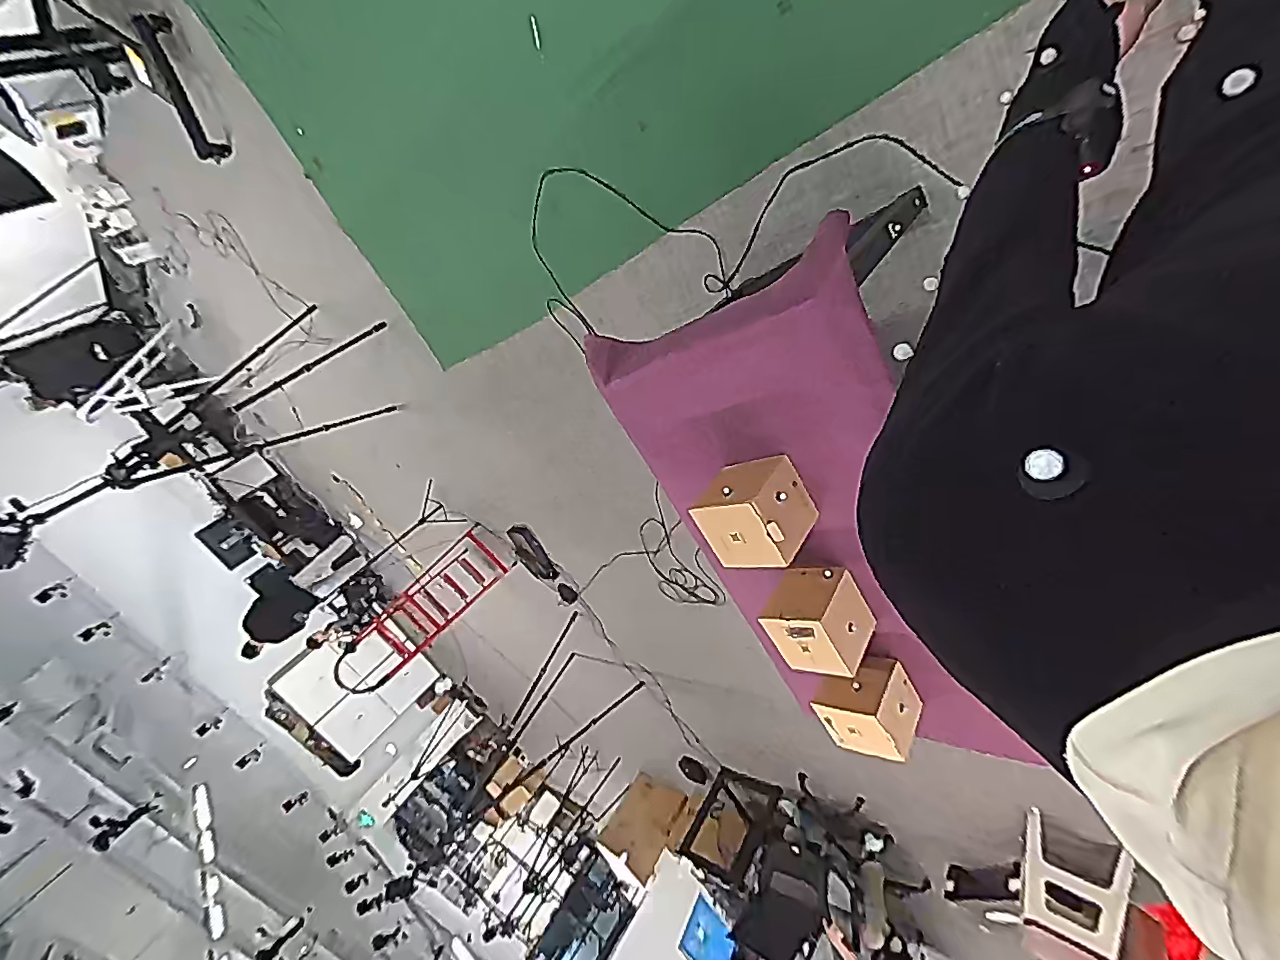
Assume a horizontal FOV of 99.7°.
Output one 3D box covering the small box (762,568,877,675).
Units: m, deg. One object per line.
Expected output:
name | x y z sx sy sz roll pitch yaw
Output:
small box | 0.421 0.320 1.255 0.168 0.176 0.179 -12 118 50

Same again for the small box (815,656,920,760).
small box | 0.572 0.553 1.344 0.179 0.176 0.168 -13 116 49

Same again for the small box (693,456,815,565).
small box | 0.252 0.064 1.160 0.179 0.176 0.168 -11 118 50
